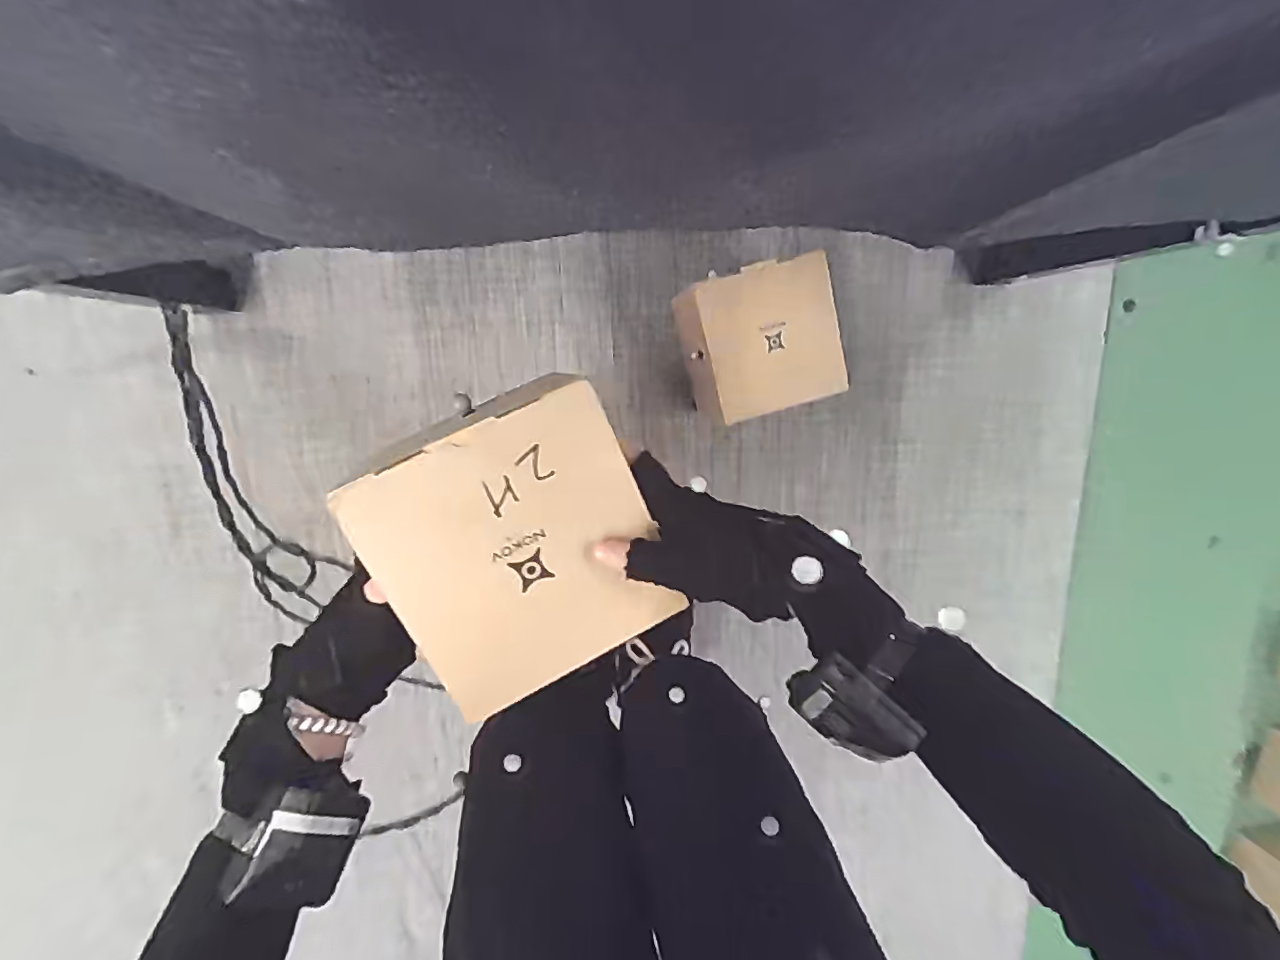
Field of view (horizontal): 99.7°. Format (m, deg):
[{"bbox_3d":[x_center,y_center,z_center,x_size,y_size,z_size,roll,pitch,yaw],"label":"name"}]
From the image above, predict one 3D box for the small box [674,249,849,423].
[{"bbox_3d":[0.152,-0.186,0.726,0.168,0.176,0.179,-16,103,-3],"label":"small box"}]
